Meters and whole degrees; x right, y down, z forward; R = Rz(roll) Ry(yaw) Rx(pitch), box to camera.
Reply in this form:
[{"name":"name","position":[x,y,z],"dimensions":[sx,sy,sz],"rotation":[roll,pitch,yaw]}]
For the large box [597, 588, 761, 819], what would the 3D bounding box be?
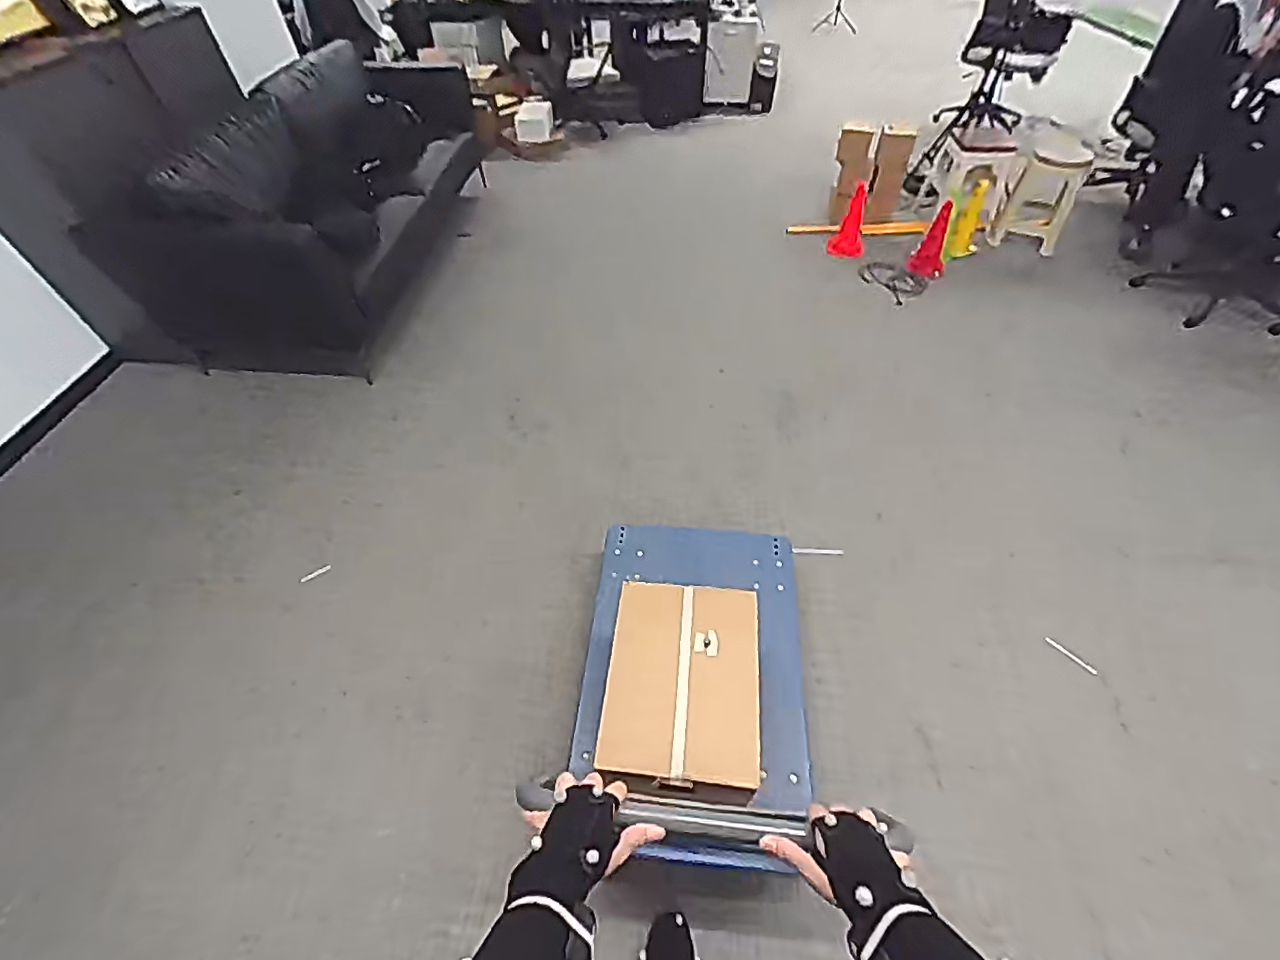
[{"name":"large box","position":[0.094,0.509,1.242],"dimensions":[0.320,0.320,0.408],"rotation":[4,49,5]}]
